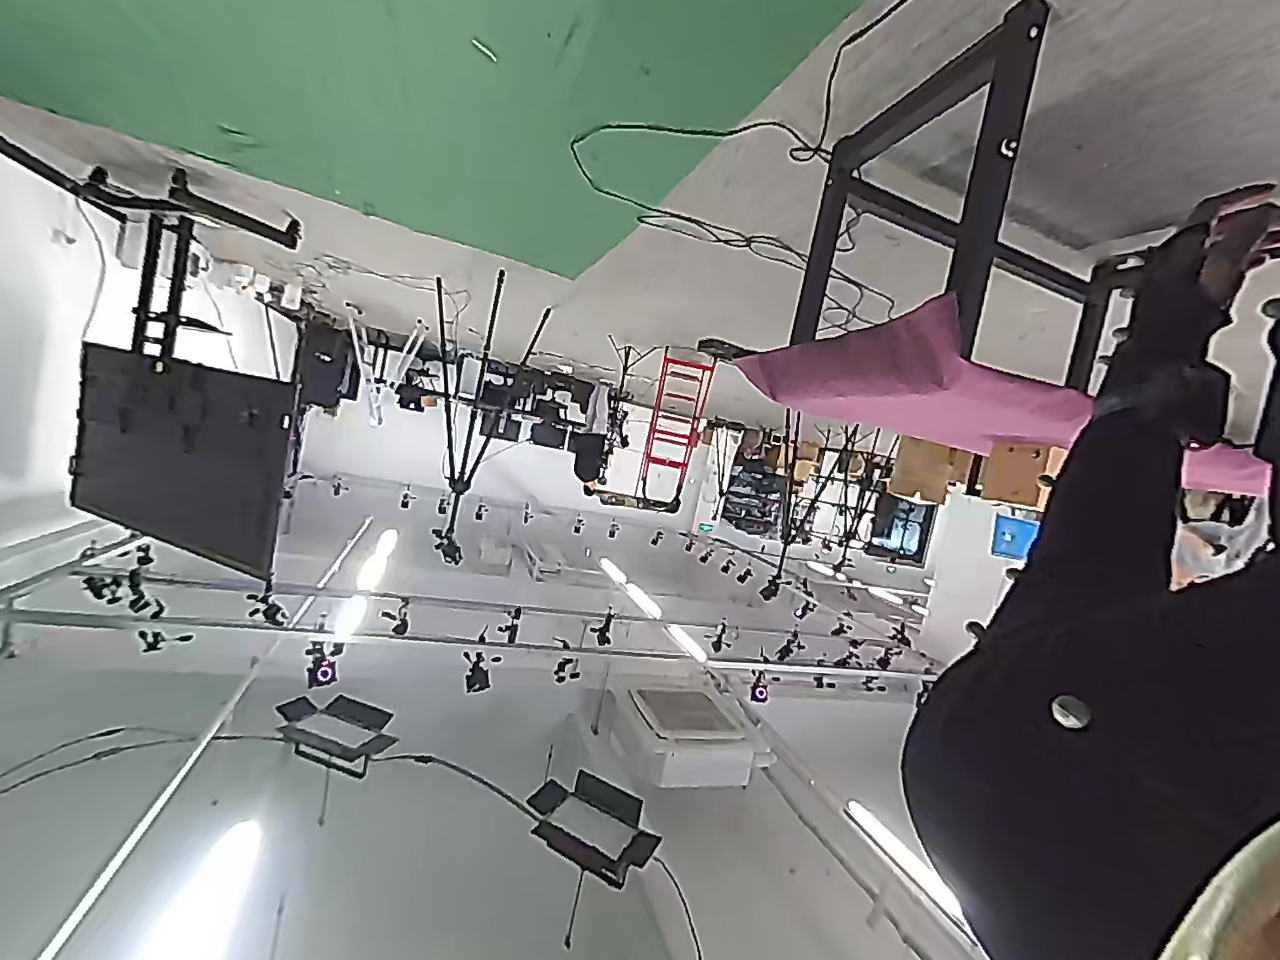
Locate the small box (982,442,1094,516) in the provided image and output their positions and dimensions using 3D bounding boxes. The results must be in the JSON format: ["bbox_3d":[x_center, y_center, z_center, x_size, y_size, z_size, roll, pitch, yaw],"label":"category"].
[{"bbox_3d":[1.087,-0.008,1.481,0.179,0.176,0.168,10,-176,-18],"label":"small box"}]
